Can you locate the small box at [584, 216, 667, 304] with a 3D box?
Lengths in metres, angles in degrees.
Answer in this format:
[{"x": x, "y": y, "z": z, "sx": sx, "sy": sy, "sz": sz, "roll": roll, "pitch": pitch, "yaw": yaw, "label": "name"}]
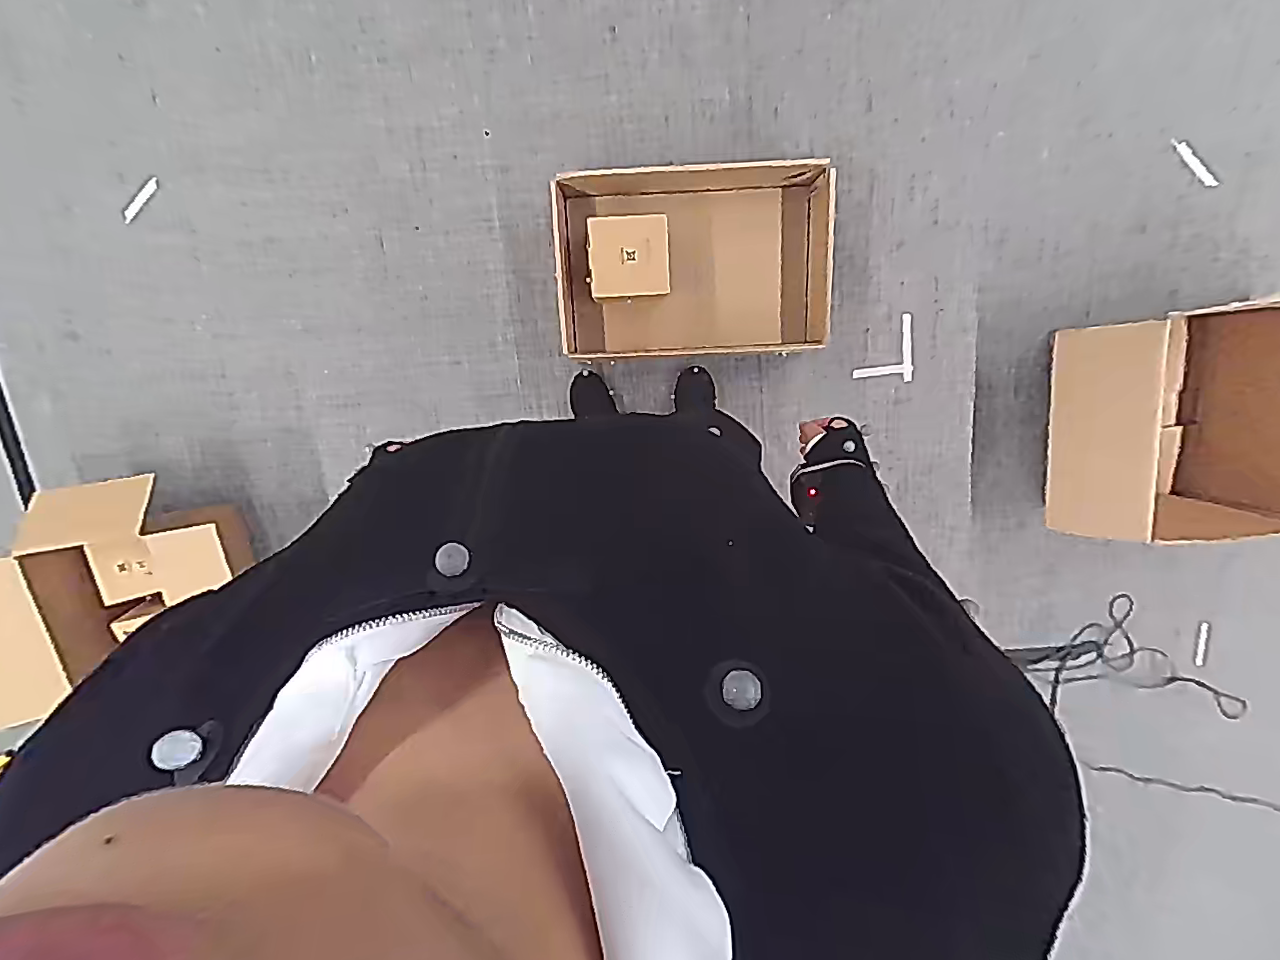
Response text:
[{"x": -0.031, "y": -0.505, "z": 1.258, "sx": 0.179, "sy": 0.176, "sz": 0.168, "roll": -4, "pitch": 104, "yaw": -1, "label": "small box"}]
